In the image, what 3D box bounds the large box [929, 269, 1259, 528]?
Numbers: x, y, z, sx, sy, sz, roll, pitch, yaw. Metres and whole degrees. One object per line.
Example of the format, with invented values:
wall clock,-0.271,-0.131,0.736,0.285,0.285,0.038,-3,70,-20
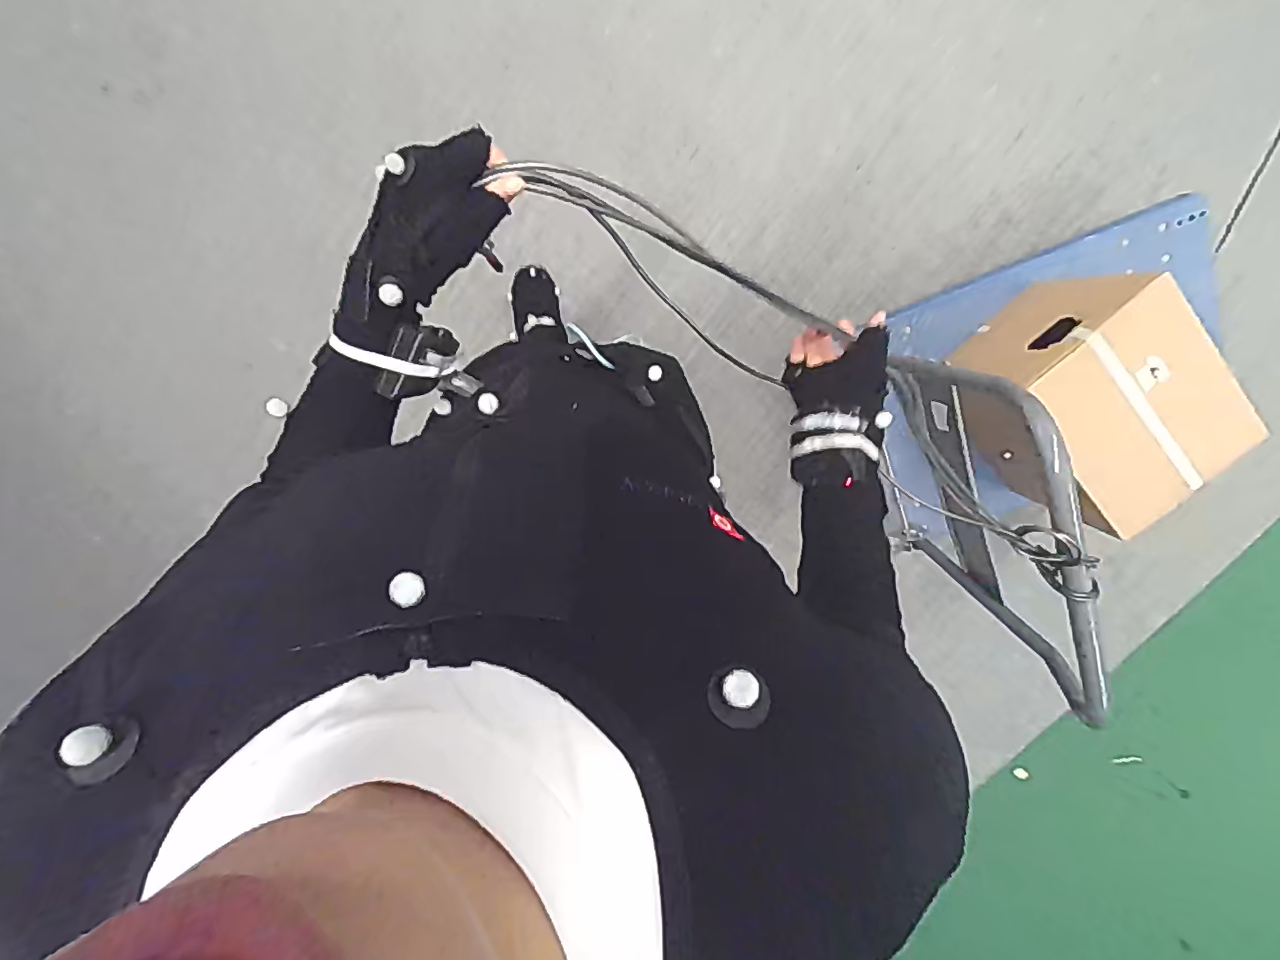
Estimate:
large box,0.921,-0.177,1.148,0.320,0.320,0.408,-43,103,11
